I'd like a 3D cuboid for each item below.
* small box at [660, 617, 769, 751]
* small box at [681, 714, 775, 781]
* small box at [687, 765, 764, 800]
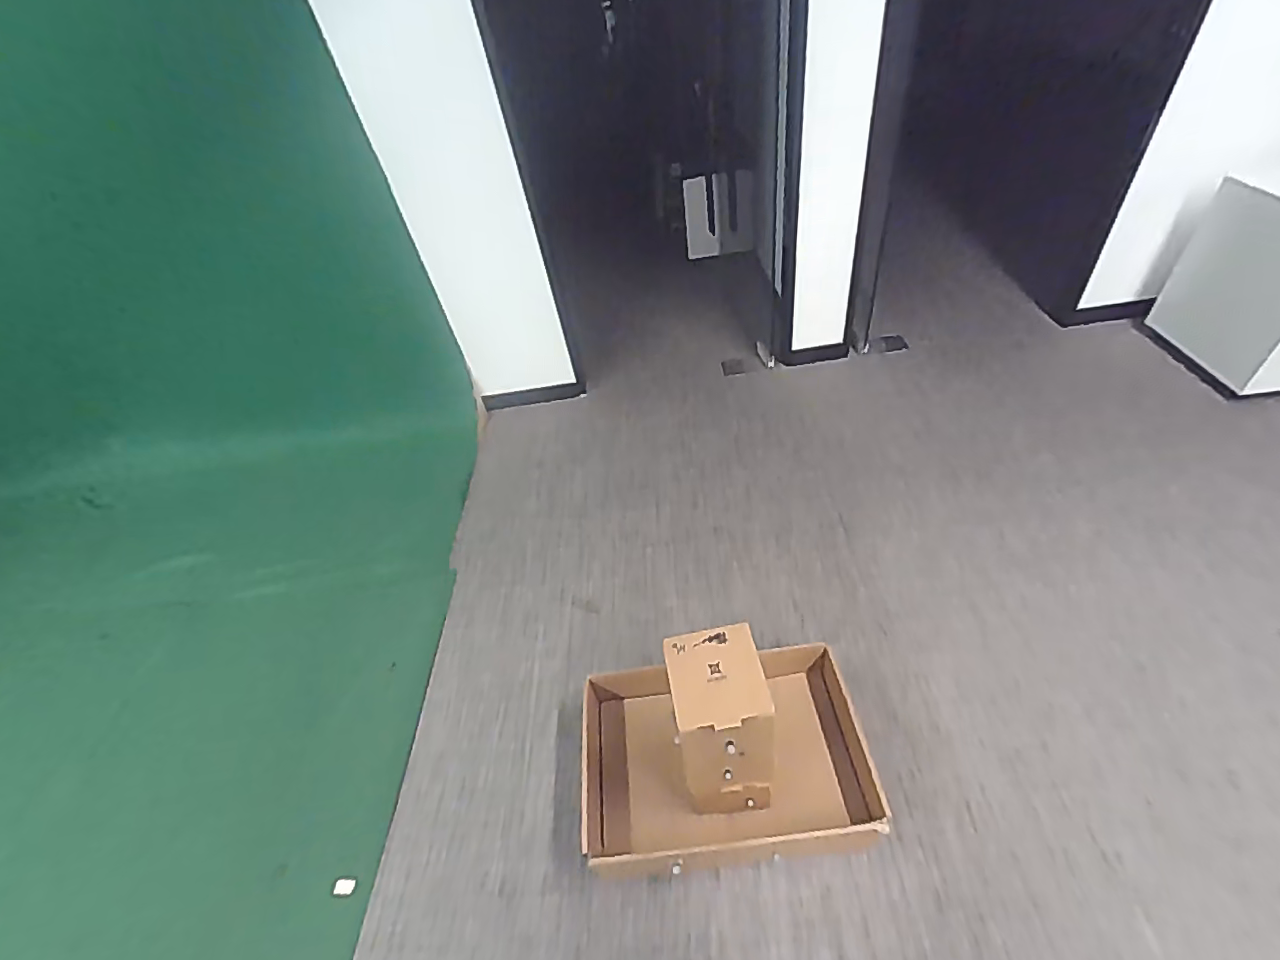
[{"bbox_3d":[0.139,0.387,1.011,0.168,0.176,0.179,-11,45,1],"label":"small box"},{"bbox_3d":[0.168,0.503,1.124,0.179,0.176,0.168,-11,45,-1],"label":"small box"},{"bbox_3d":[0.189,0.616,1.240,0.168,0.176,0.179,-8,43,4],"label":"small box"}]
